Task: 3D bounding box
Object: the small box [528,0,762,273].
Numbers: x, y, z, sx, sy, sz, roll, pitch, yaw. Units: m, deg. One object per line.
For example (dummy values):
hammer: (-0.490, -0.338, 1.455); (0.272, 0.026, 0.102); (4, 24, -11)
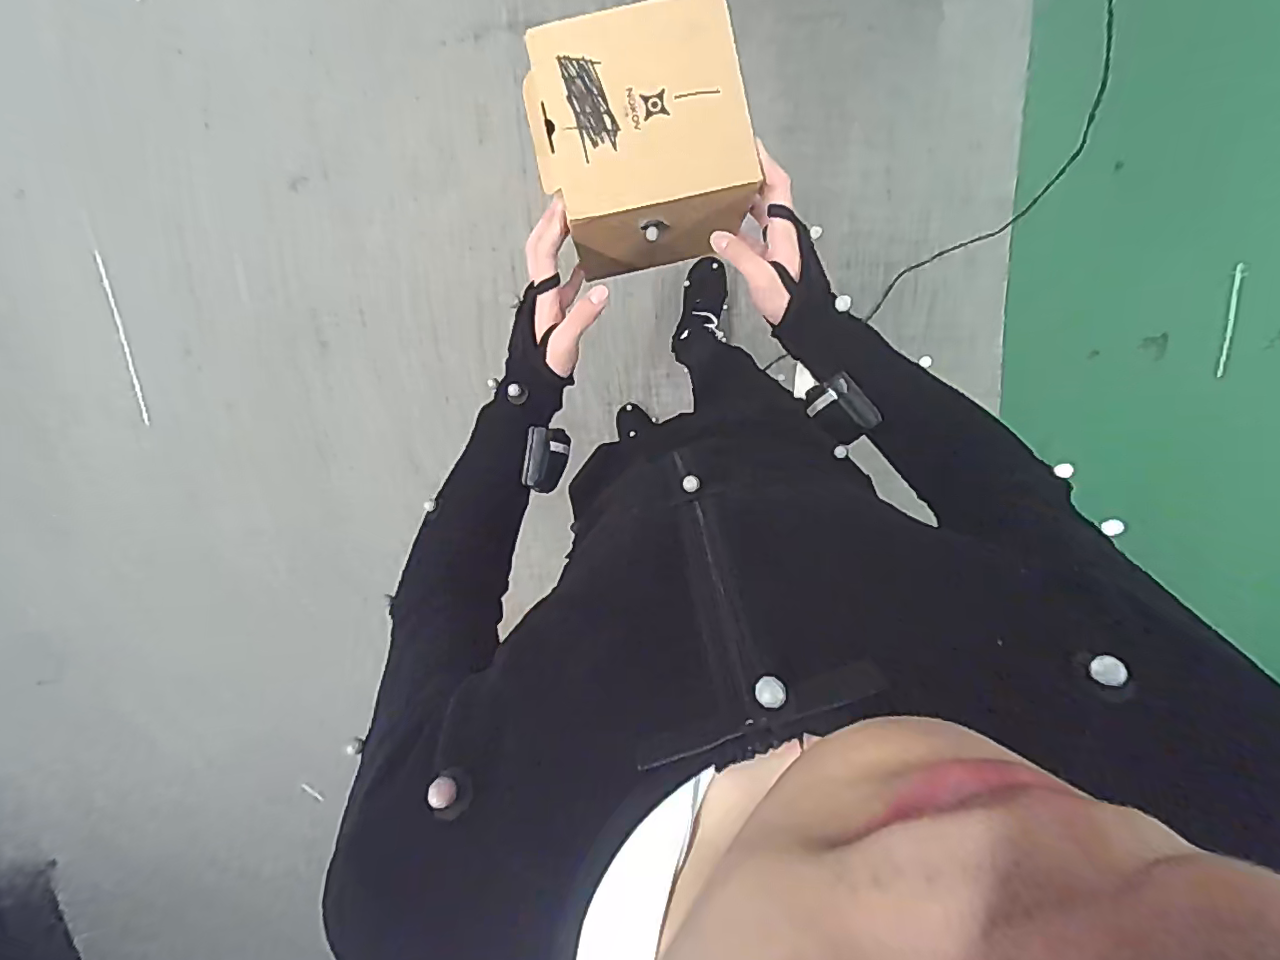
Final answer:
small box: (0.004, -0.326, 0.542); (0.179, 0.176, 0.168); (-13, 93, -1)
